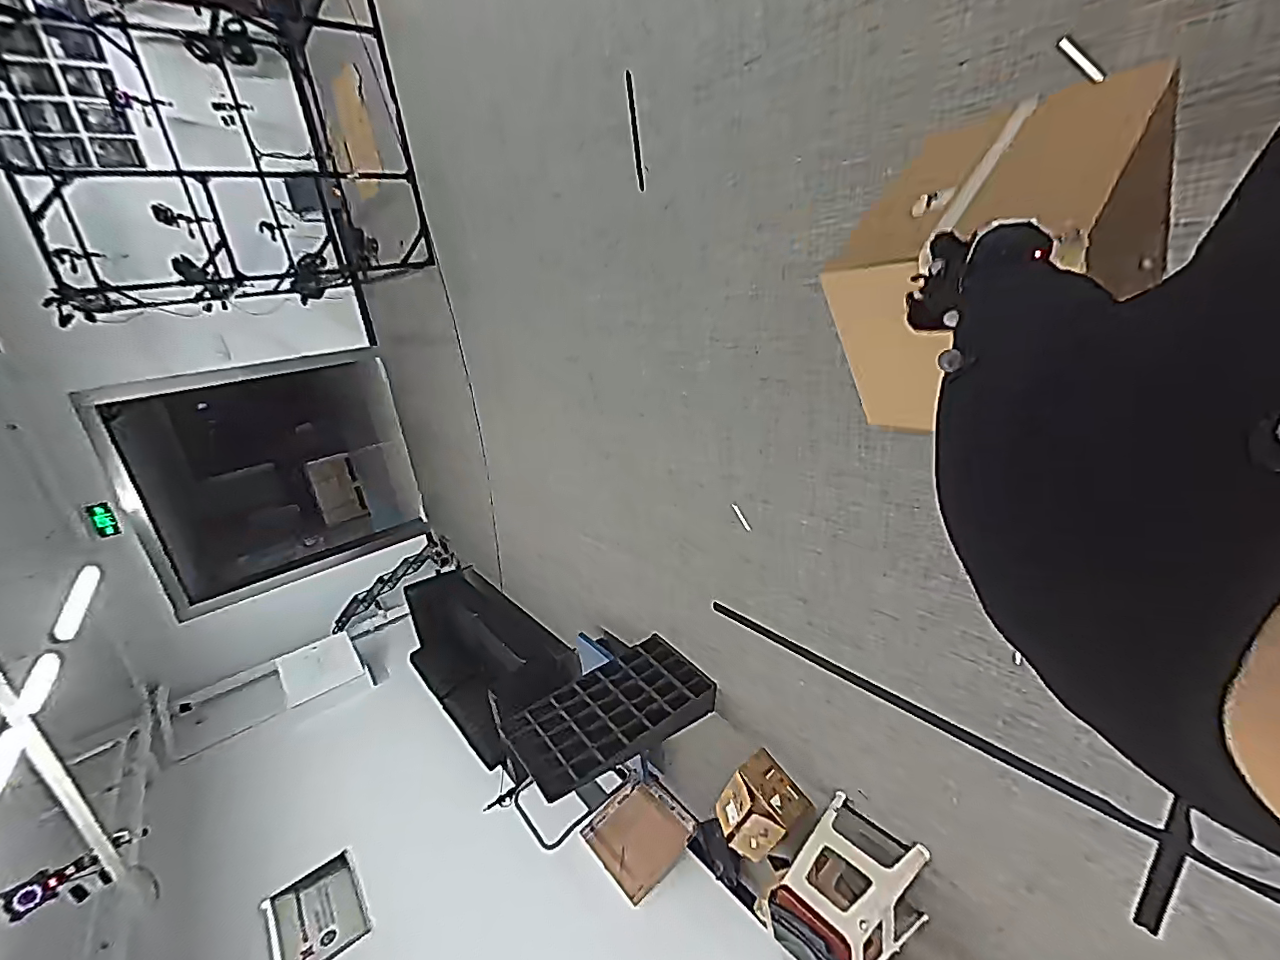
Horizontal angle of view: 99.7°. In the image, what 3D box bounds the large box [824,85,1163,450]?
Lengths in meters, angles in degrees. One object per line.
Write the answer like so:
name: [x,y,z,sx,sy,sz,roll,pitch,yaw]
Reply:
large box: [0.553,-0.304,0.838,0.320,0.408,0.320,12,146,50]
